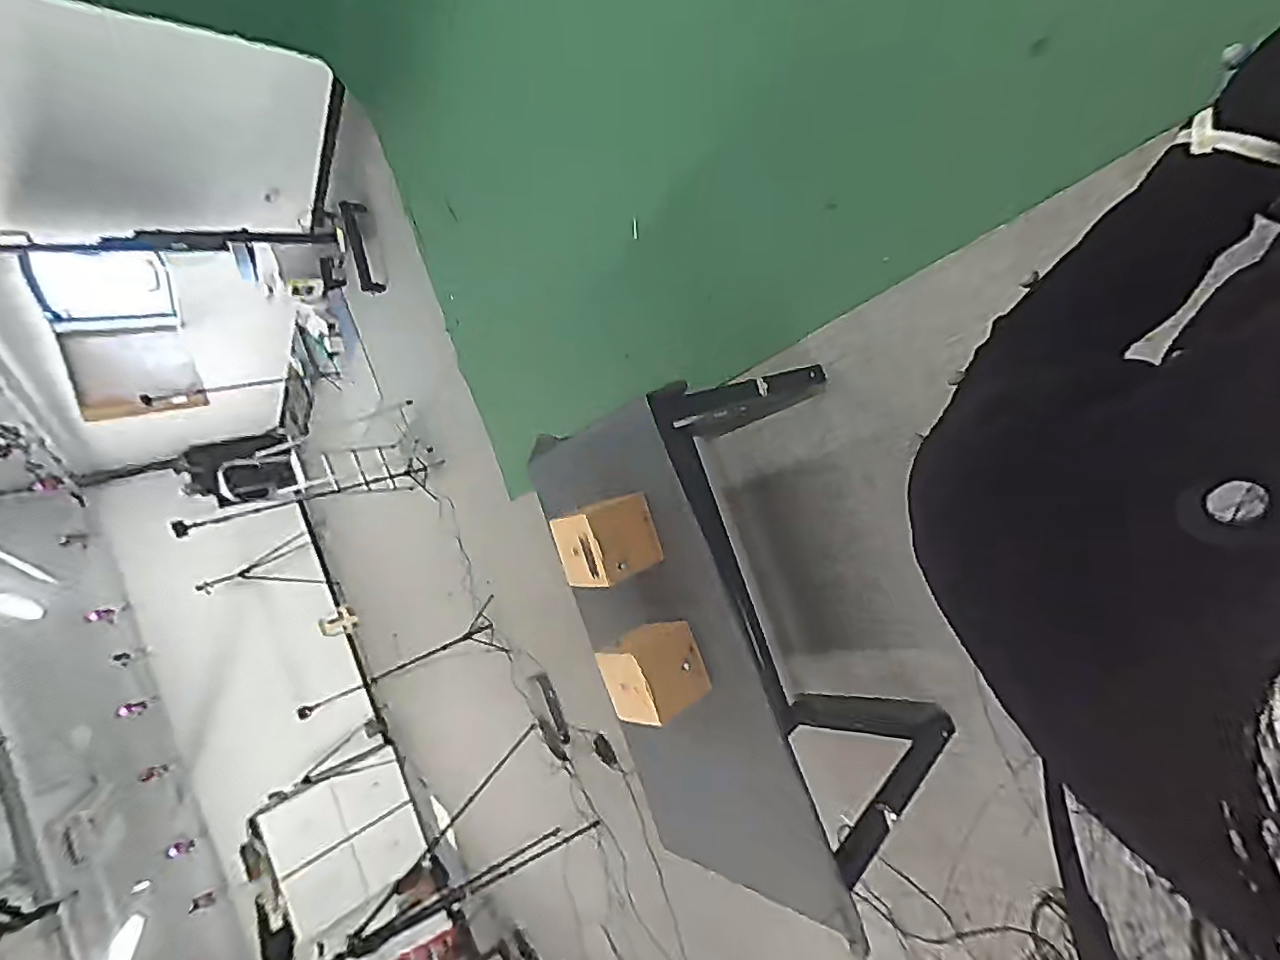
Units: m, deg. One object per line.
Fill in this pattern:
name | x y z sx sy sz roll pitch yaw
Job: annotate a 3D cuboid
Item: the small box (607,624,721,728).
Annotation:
small box | 0.057 0.448 1.259 0.179 0.176 0.168 -25 86 52
